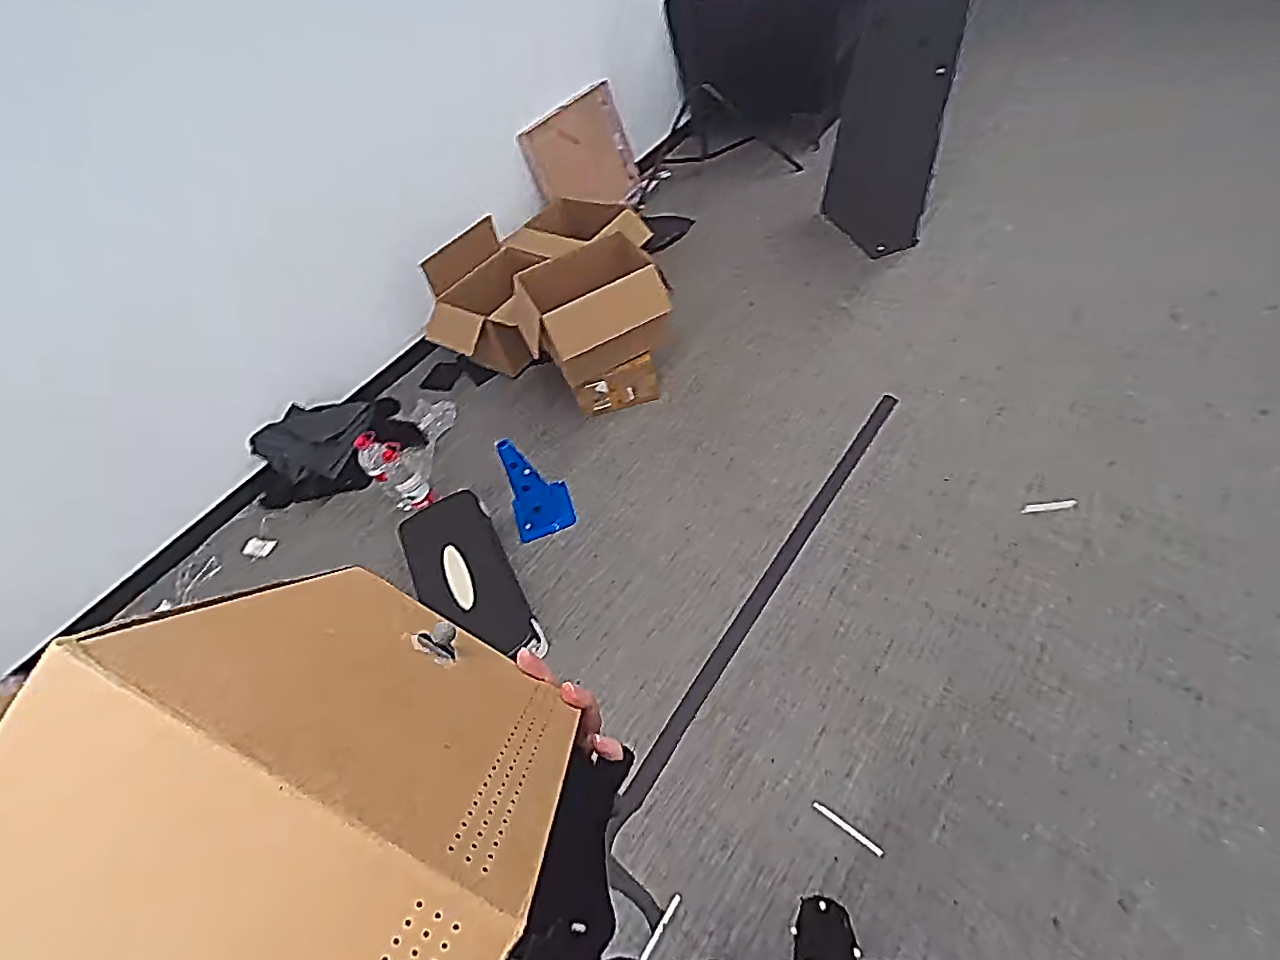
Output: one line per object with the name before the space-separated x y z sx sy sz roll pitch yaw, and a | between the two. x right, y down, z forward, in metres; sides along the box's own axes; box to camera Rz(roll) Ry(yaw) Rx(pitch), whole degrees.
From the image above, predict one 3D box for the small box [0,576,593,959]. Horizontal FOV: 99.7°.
small box | -0.137 0.170 0.262 0.176 0.179 0.168 31 89 1
